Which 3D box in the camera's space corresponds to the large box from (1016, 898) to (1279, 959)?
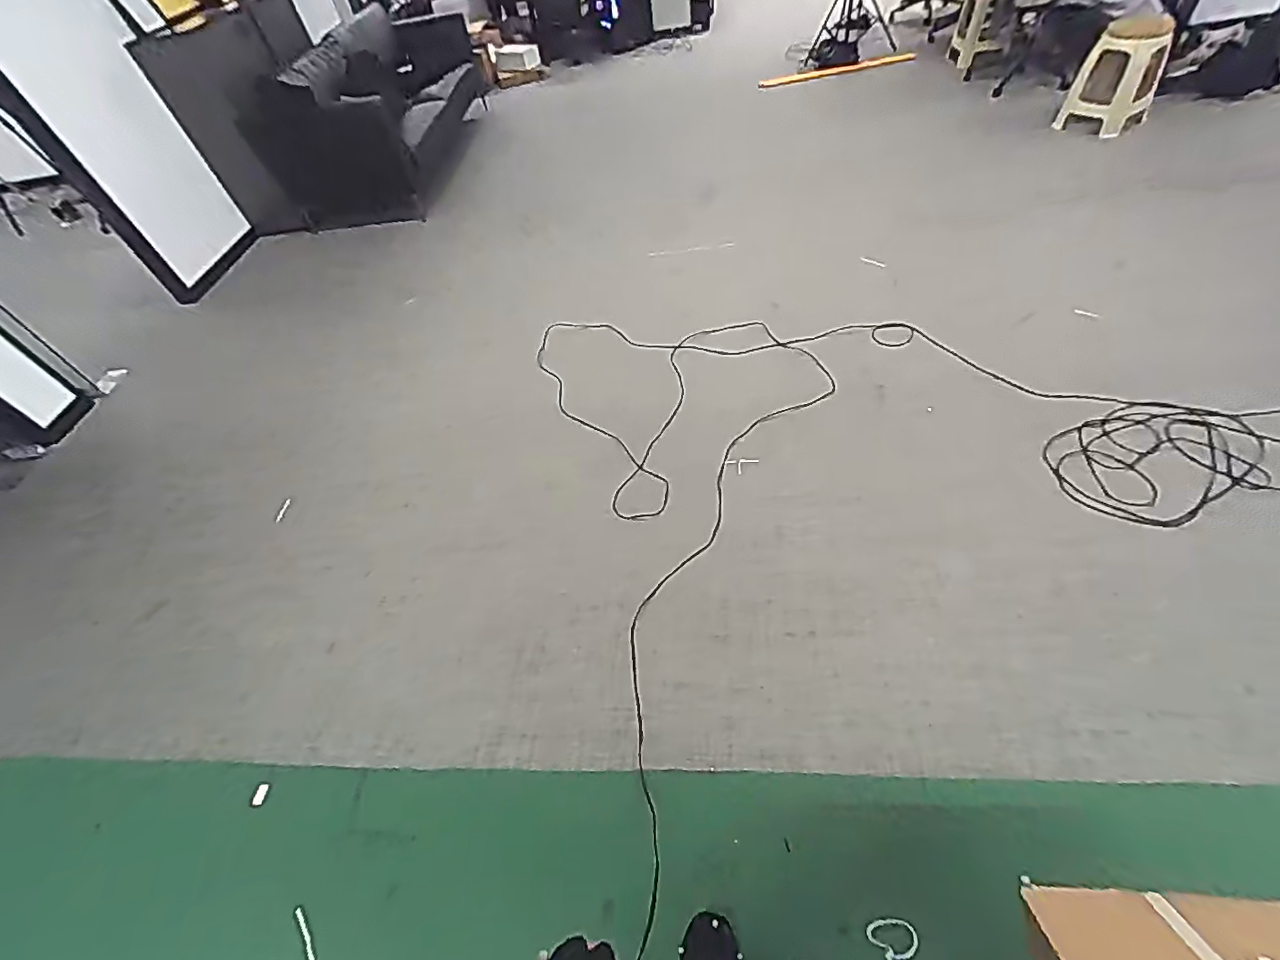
[{"bbox_3d":[0.655,0.724,0.538,0.320,0.408,0.320,-6,86,14],"label":"large box"}]
